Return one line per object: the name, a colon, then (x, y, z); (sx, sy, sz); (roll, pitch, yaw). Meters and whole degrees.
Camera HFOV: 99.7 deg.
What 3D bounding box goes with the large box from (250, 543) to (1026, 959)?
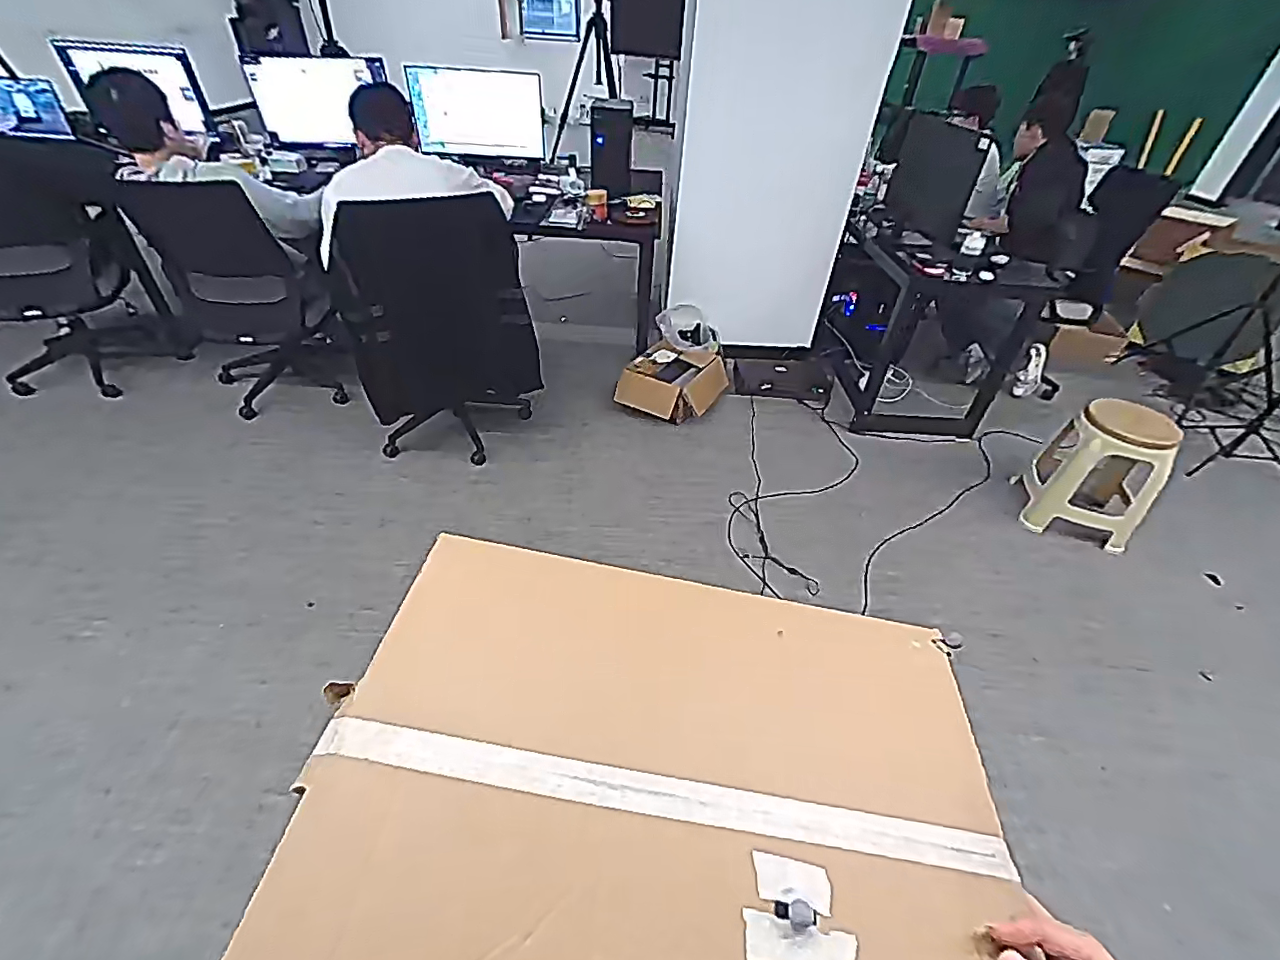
large box: (-0.002, 0.296, 0.432); (0.408, 0.320, 0.320); (12, 45, -1)
